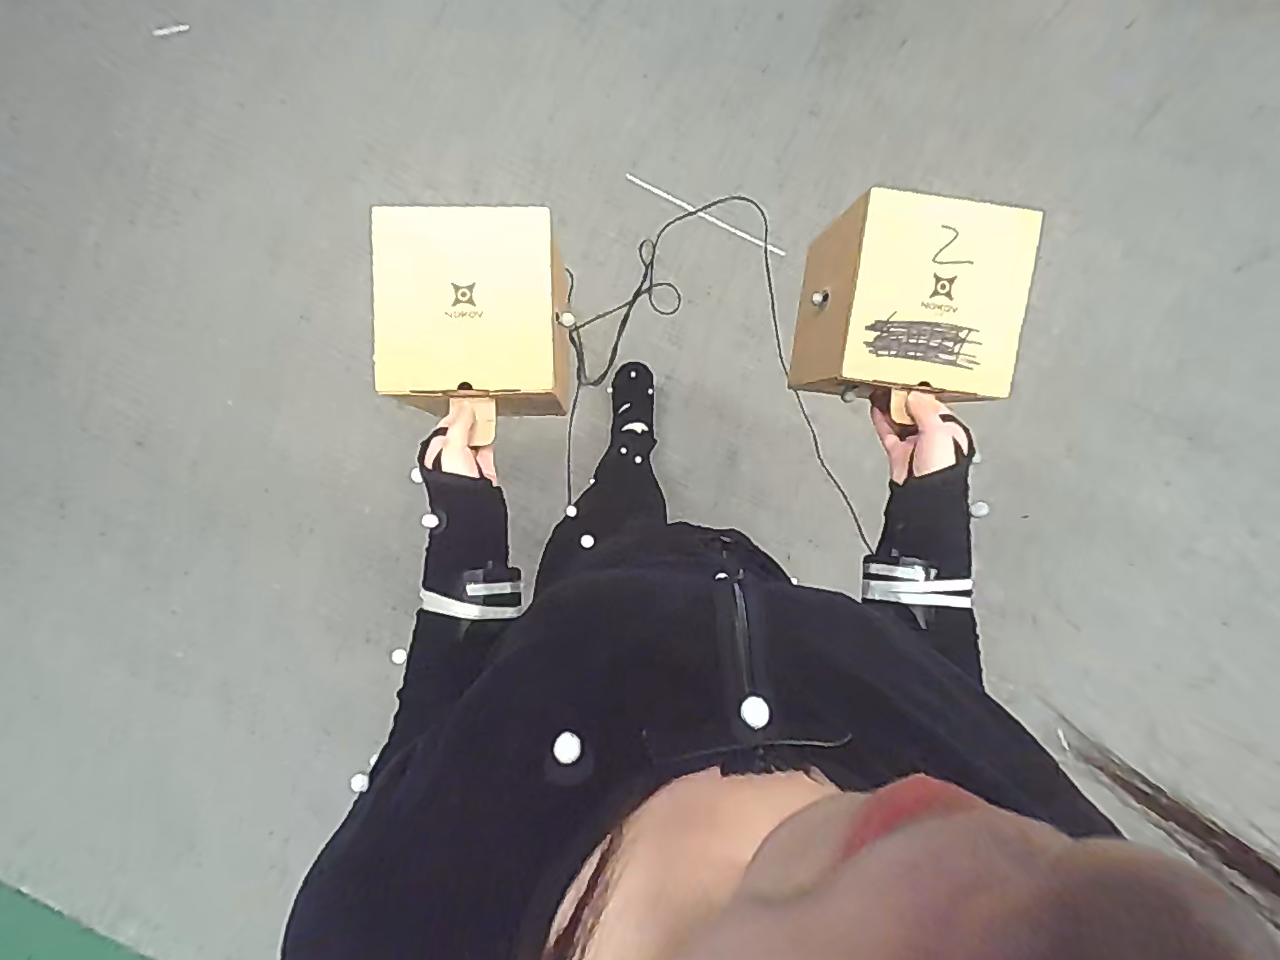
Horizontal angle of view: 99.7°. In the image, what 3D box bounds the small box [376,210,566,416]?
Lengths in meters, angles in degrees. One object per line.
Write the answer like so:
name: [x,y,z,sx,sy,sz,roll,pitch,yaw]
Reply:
small box: [-0.171,-0.168,0.593,0.168,0.176,0.179,-1,90,-3]
